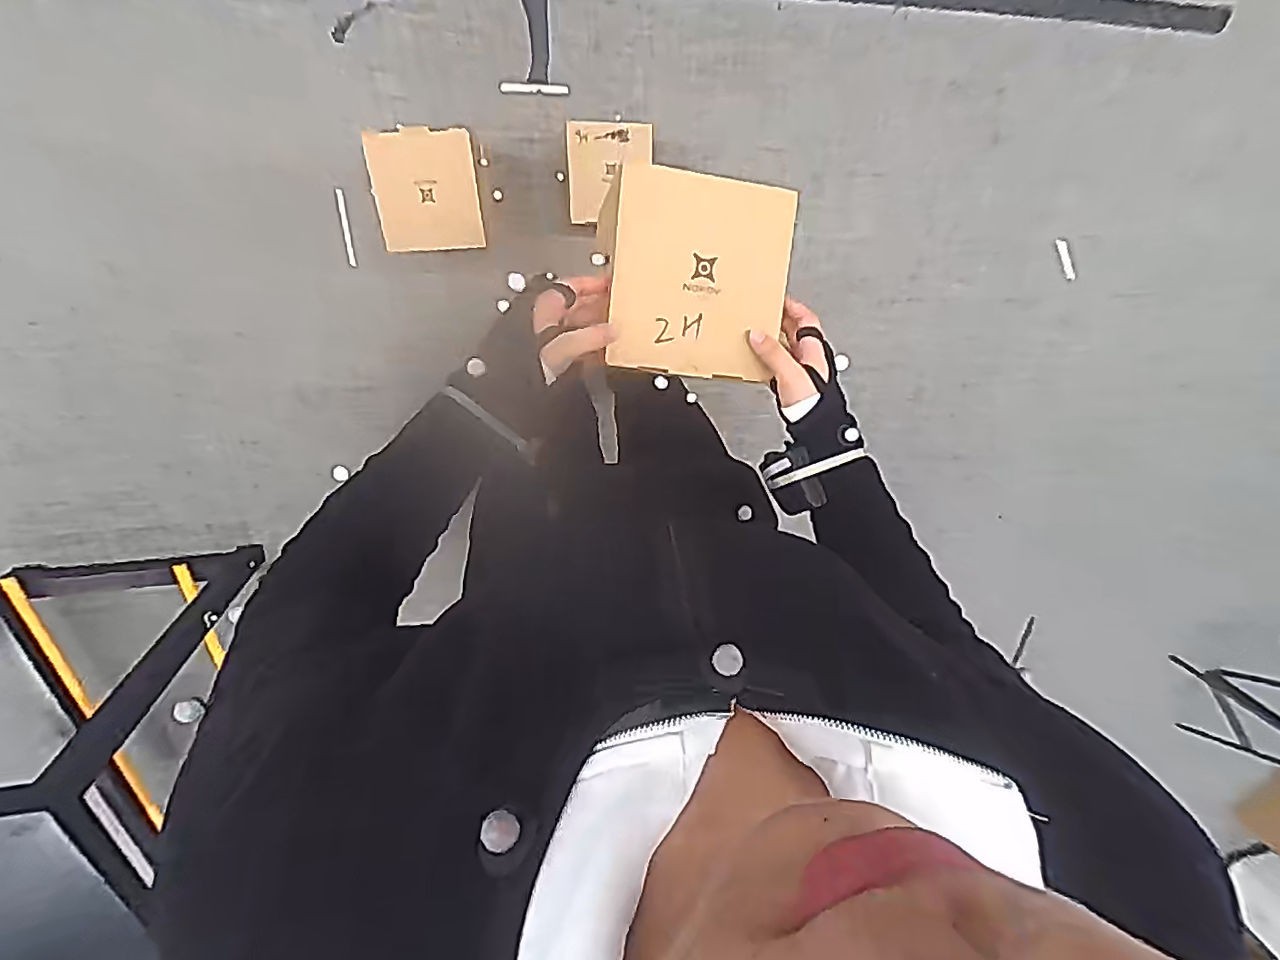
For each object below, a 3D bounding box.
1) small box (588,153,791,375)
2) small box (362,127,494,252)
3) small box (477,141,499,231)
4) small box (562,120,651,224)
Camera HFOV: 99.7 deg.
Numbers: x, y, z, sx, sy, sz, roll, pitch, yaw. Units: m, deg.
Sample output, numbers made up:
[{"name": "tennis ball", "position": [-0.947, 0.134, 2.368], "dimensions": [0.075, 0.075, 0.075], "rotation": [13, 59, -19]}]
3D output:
[{"name": "small box", "position": [0.037, -0.208, 0.572], "dimensions": [0.168, 0.176, 0.179], "rotation": [4, 101, -11]}, {"name": "small box", "position": [-0.358, -0.505, 0.949], "dimensions": [0.168, 0.176, 0.179], "rotation": [-6, 119, -5]}, {"name": "small box", "position": [-0.389, -0.581, 1.089], "dimensions": [0.179, 0.176, 0.168], "rotation": [-5, 118, -8]}, {"name": "small box", "position": [-0.074, -0.633, 1.124], "dimensions": [0.168, 0.176, 0.179], "rotation": [-3, 118, -9]}]
